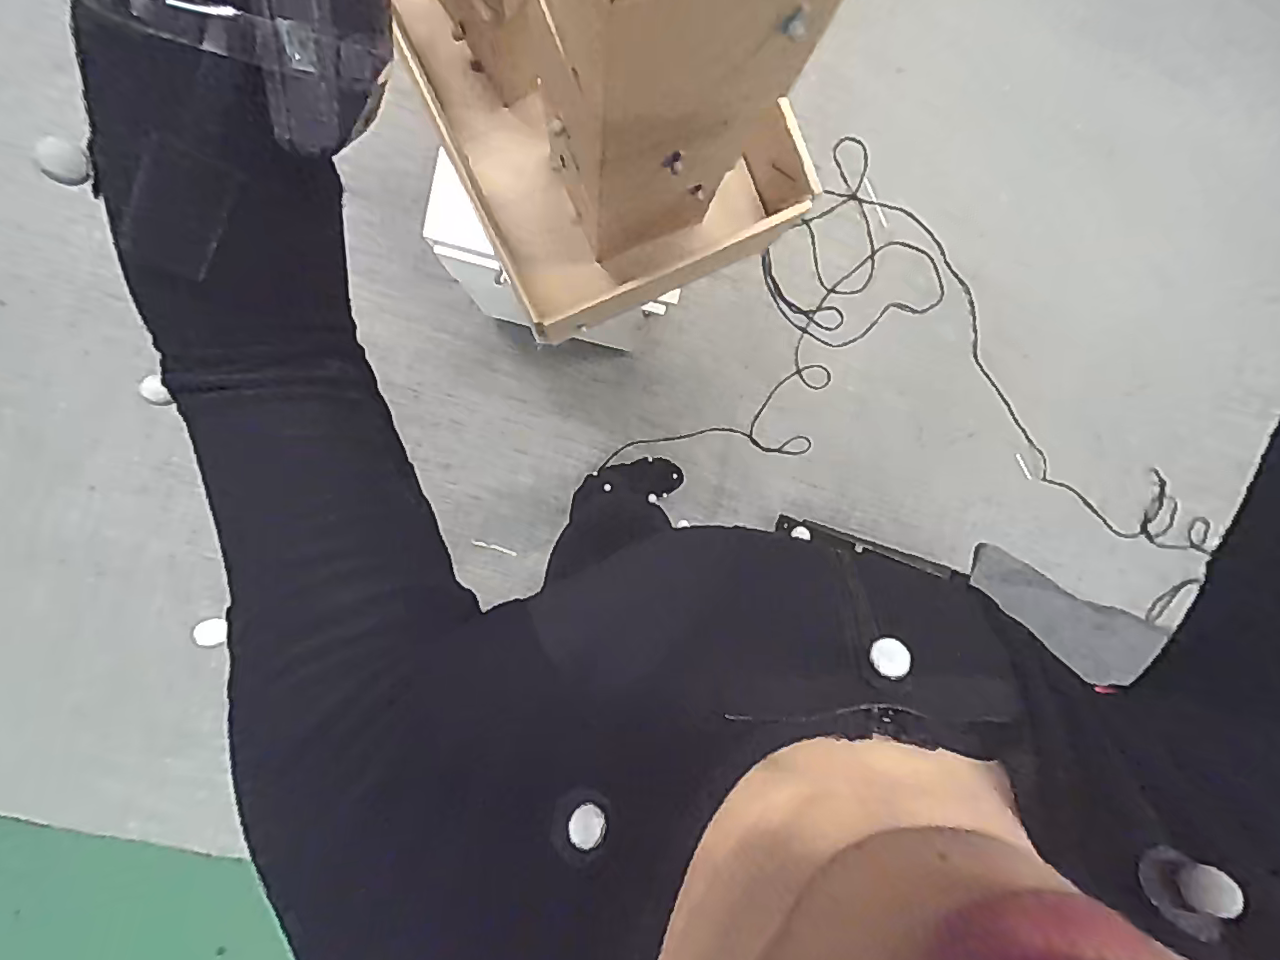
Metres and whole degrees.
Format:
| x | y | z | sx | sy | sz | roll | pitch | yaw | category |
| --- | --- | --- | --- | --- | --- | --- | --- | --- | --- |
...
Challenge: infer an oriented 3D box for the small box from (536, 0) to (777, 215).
| x | y | z | sx | sy | sz | roll | pitch | yaw | category |
| --- | --- | --- | --- | --- | --- | --- | --- | --- | --- |
| 0.005 | -0.403 | 0.542 | 0.179 | 0.176 | 0.168 | -23 | 95 | -2 | small box |
